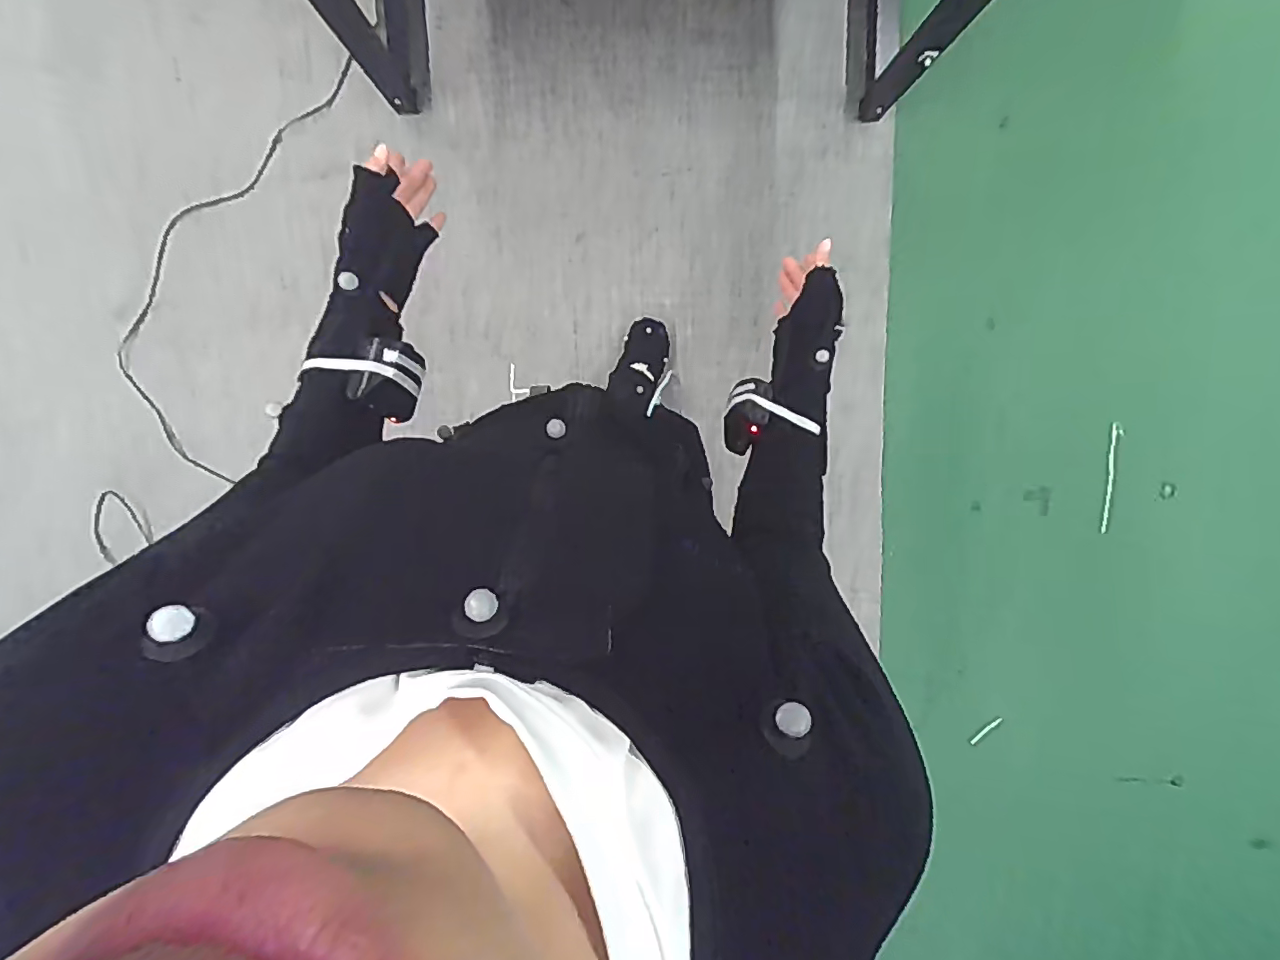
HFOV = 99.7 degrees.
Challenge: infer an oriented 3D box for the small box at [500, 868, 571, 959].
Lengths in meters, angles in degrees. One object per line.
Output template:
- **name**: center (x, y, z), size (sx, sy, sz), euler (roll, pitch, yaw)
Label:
- **small box**: center (-0.287, 1.235, 1.520), size (0.168, 0.176, 0.179), euler (-9, 100, -4)
